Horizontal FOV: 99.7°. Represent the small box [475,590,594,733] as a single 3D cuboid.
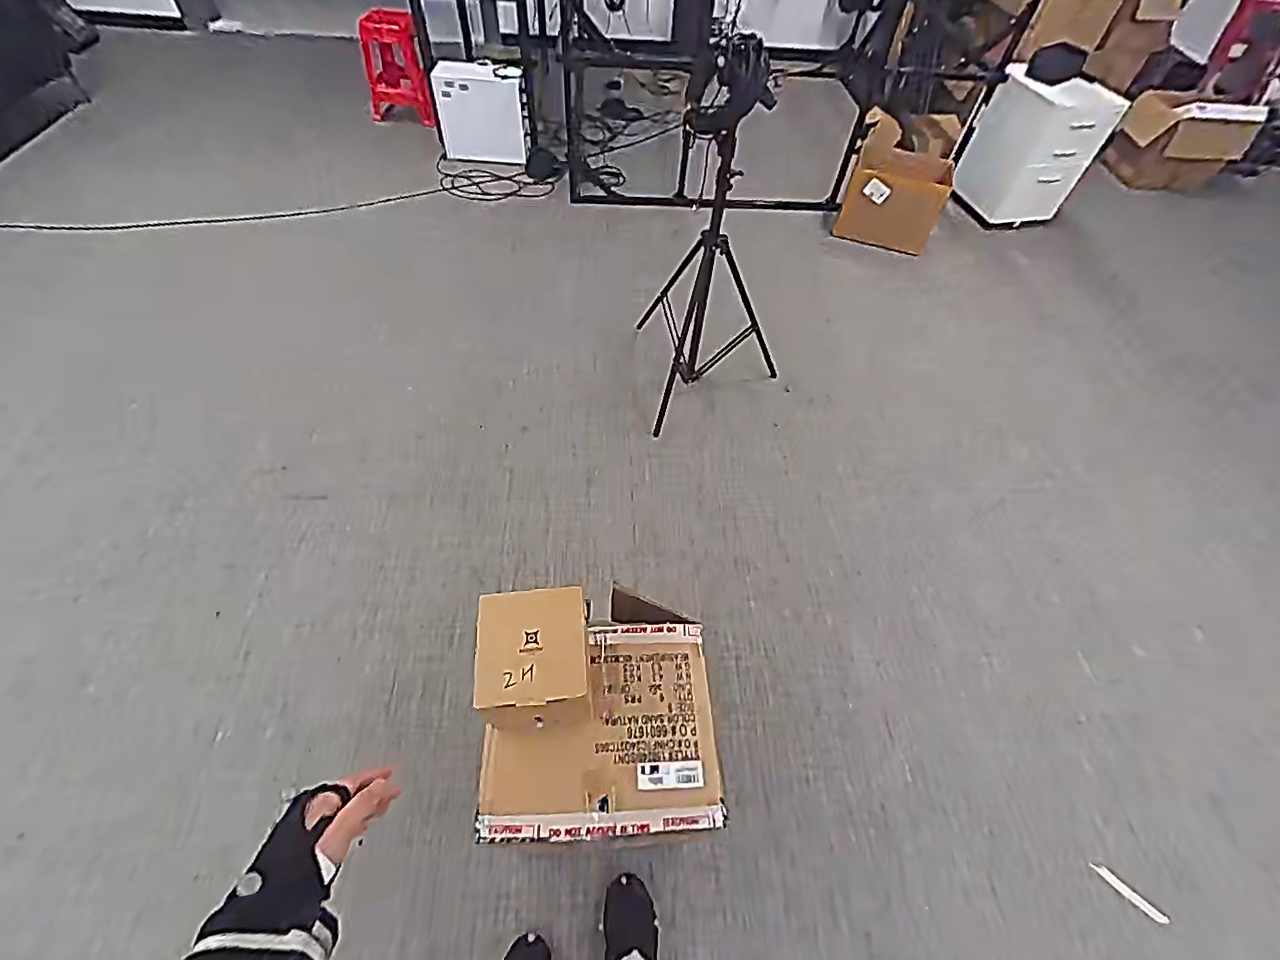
[{"bbox_3d":[-0.165,0.299,0.886,0.168,0.176,0.179,-5,57,-4],"label":"small box"}]
